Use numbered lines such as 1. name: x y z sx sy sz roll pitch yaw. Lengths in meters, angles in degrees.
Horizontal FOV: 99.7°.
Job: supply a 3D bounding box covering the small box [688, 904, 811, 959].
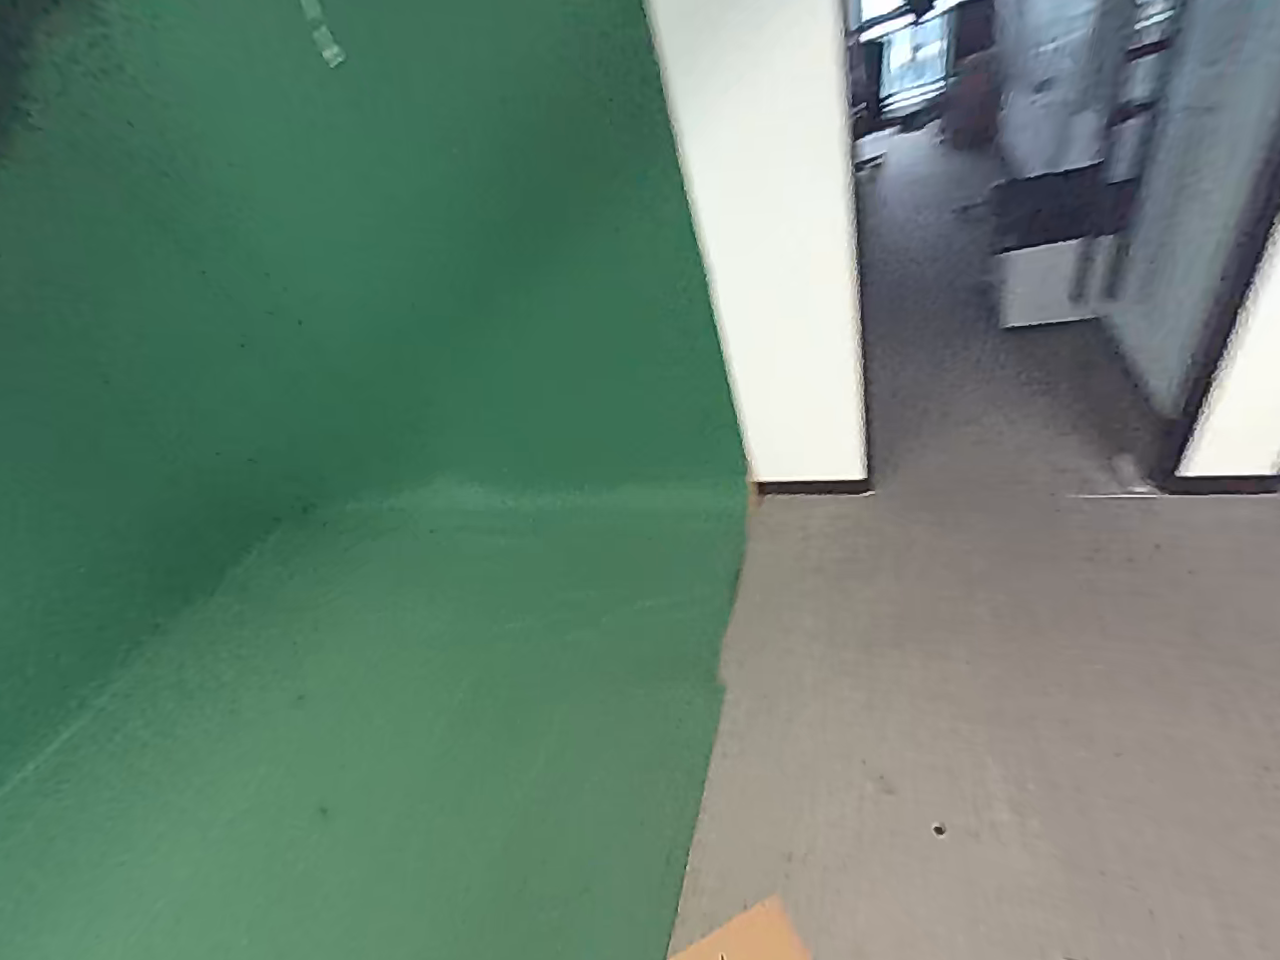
1. small box: 0.131 0.592 0.544 0.168 0.176 0.179 -24 32 -12
